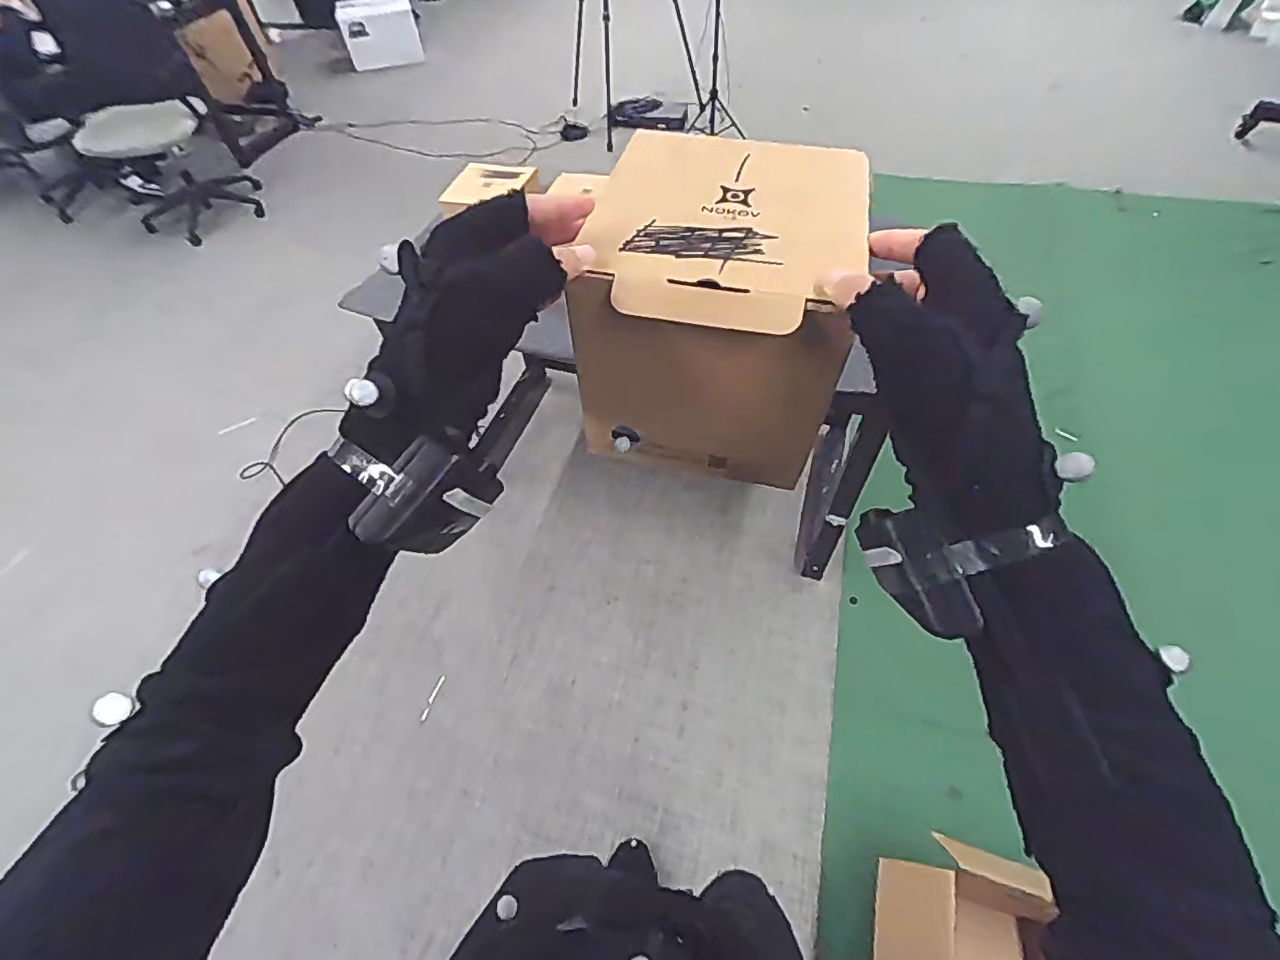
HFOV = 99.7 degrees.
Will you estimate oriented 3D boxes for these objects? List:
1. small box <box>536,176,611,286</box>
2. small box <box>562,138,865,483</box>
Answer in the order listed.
[{"bbox_3d":[-0.112,-0.546,1.201,0.168,0.176,0.179,10,55,11],"label":"small box"},{"bbox_3d":[0.056,-0.121,0.403,0.168,0.176,0.179,11,55,8],"label":"small box"}]
